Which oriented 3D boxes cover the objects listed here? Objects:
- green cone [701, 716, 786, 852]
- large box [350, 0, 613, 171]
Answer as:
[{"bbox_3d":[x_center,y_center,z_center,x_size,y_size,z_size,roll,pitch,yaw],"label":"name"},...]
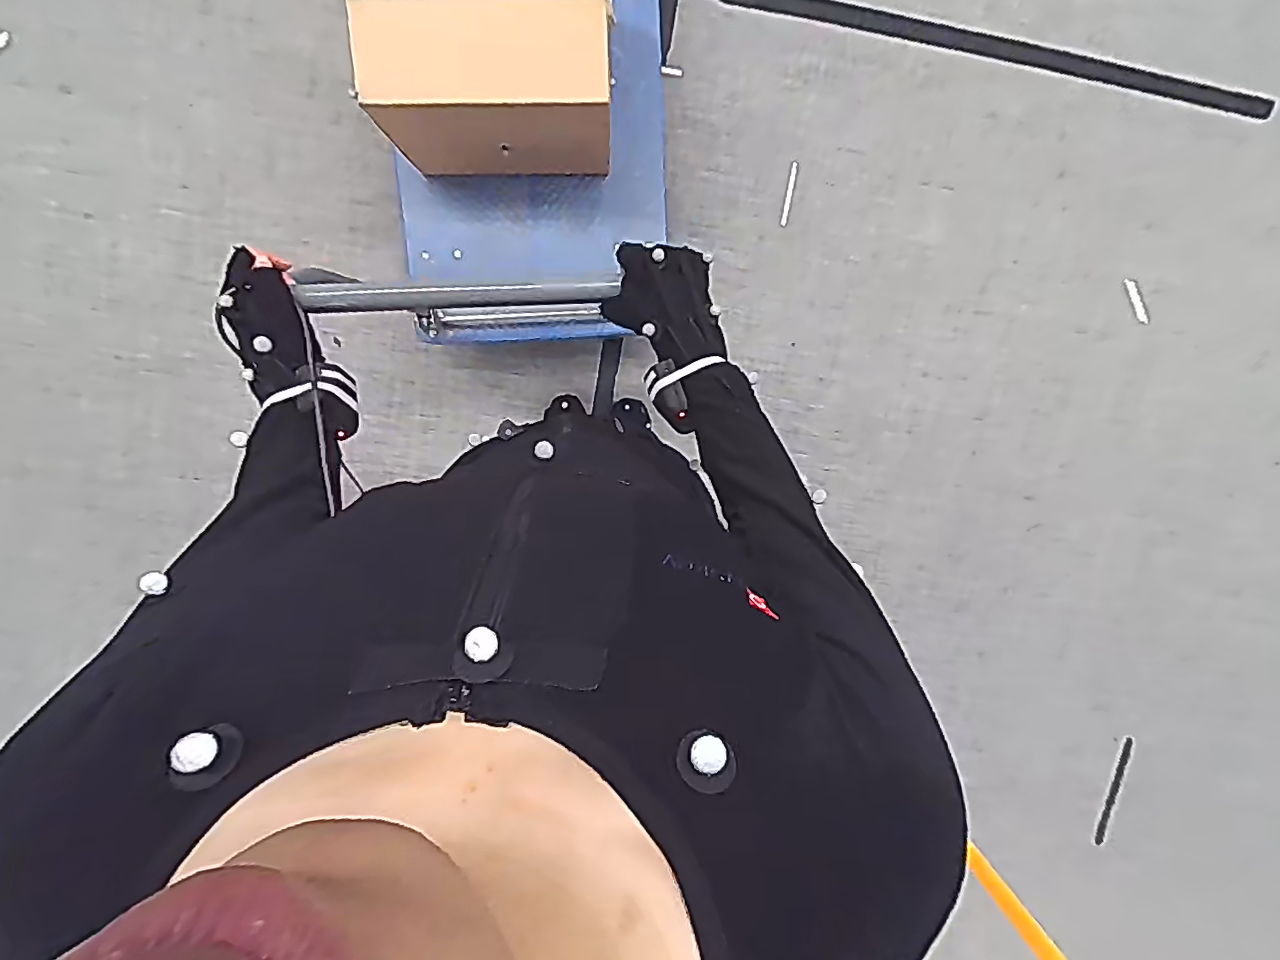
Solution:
[{"bbox_3d":[0.313,0.851,1.476,0.202,0.368,0.200,12,99,-7],"label":"green cone"},{"bbox_3d":[-0.260,-0.788,0.991,0.408,0.320,0.320,-2,101,-2],"label":"large box"}]
